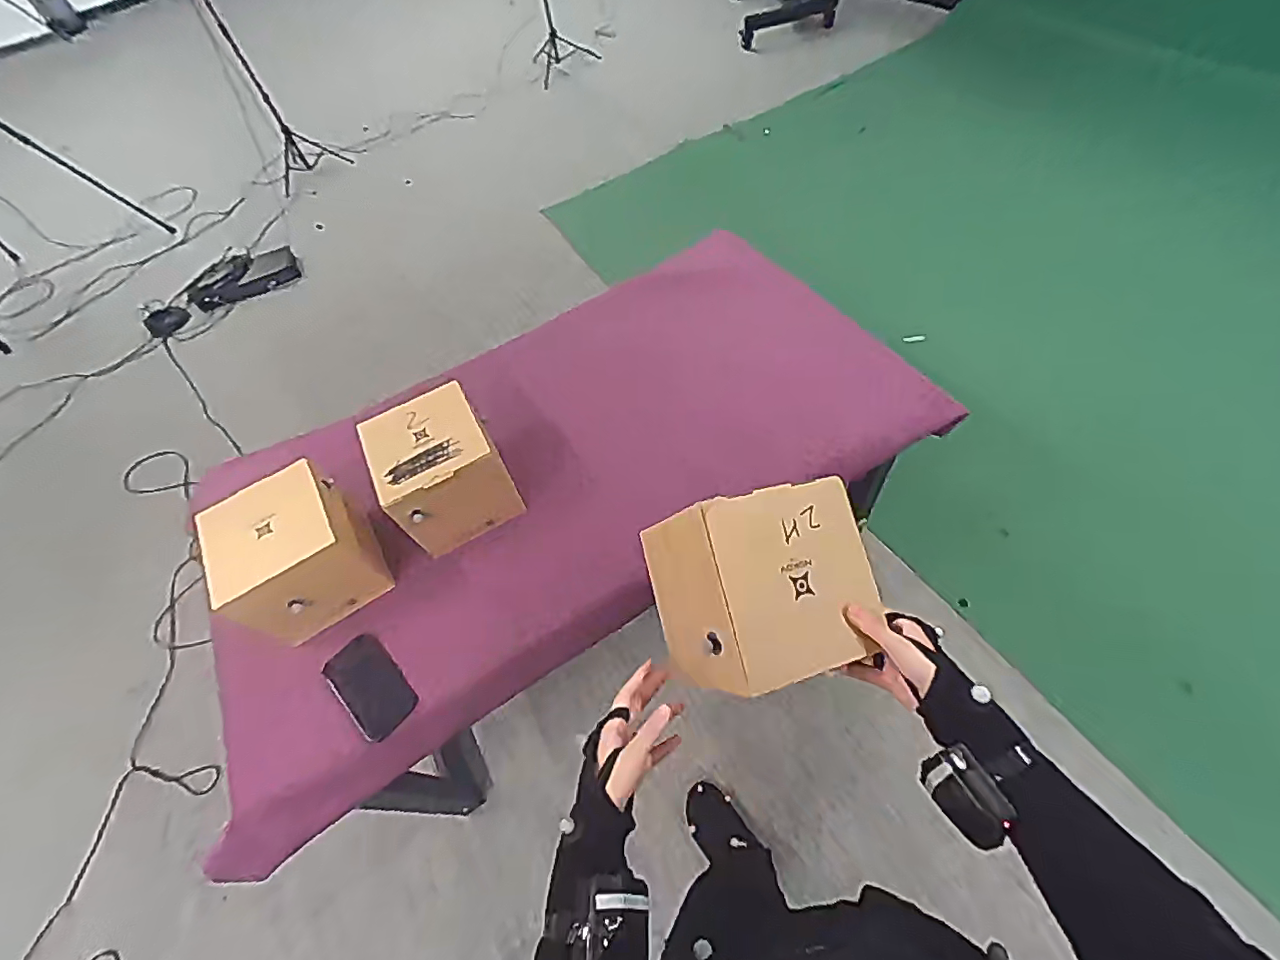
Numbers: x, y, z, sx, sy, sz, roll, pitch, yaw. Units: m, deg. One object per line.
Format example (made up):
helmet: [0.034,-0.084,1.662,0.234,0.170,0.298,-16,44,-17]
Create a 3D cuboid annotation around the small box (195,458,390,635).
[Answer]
small box: [-0.503,0.108,0.801,0.168,0.176,0.179,-32,57,-13]
